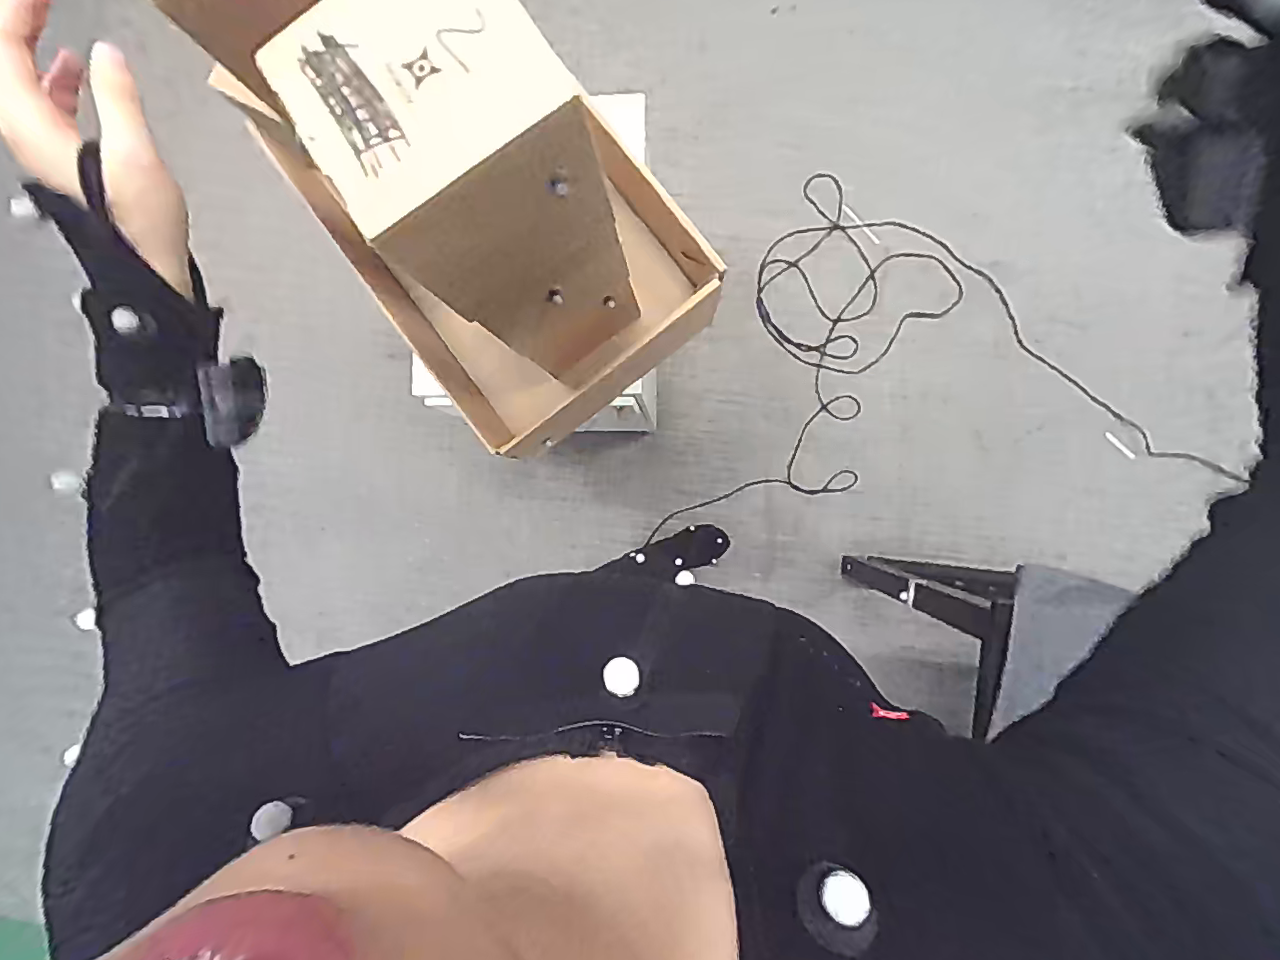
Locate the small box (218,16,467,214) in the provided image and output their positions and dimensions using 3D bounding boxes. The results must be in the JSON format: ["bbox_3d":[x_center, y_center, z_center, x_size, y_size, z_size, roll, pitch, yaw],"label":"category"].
[{"bbox_3d":[-0.330,-0.455,0.640,0.168,0.176,0.179,27,94,4],"label":"small box"}]

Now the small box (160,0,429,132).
[{"bbox_3d":[-0.315,-0.464,0.474,0.179,0.176,0.168,-32,87,4],"label":"small box"}]

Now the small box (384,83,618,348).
[{"bbox_3d":[-0.139,-0.282,0.619,0.179,0.176,0.168,-36,84,4],"label":"small box"}]
